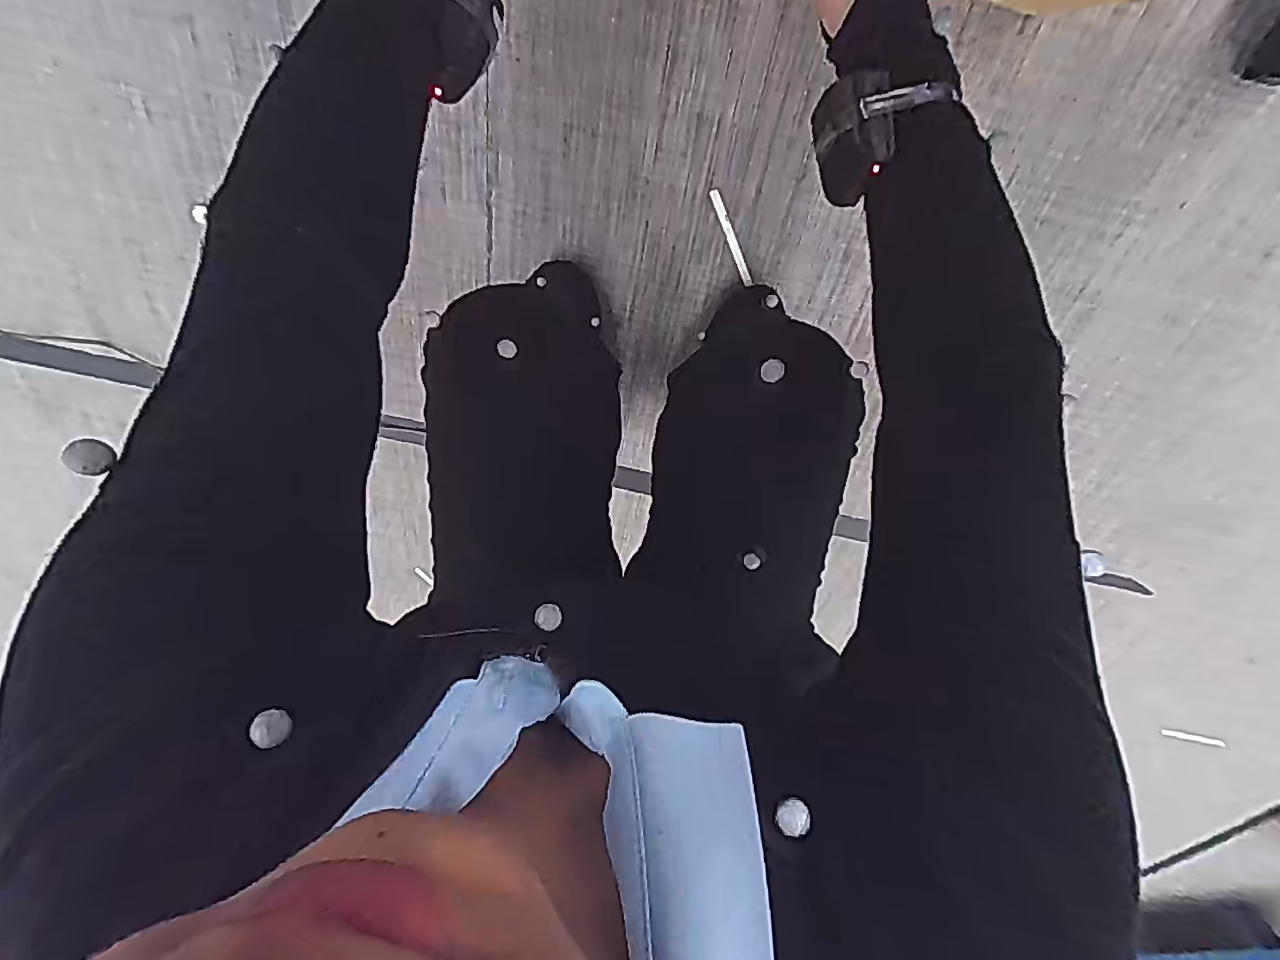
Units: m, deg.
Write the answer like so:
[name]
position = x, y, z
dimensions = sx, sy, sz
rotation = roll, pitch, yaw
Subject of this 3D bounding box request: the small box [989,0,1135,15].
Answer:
[small box]
position = 0.343, -0.509, 0.434
dimensions = 0.168, 0.176, 0.179
rotation = 14, 126, -4
